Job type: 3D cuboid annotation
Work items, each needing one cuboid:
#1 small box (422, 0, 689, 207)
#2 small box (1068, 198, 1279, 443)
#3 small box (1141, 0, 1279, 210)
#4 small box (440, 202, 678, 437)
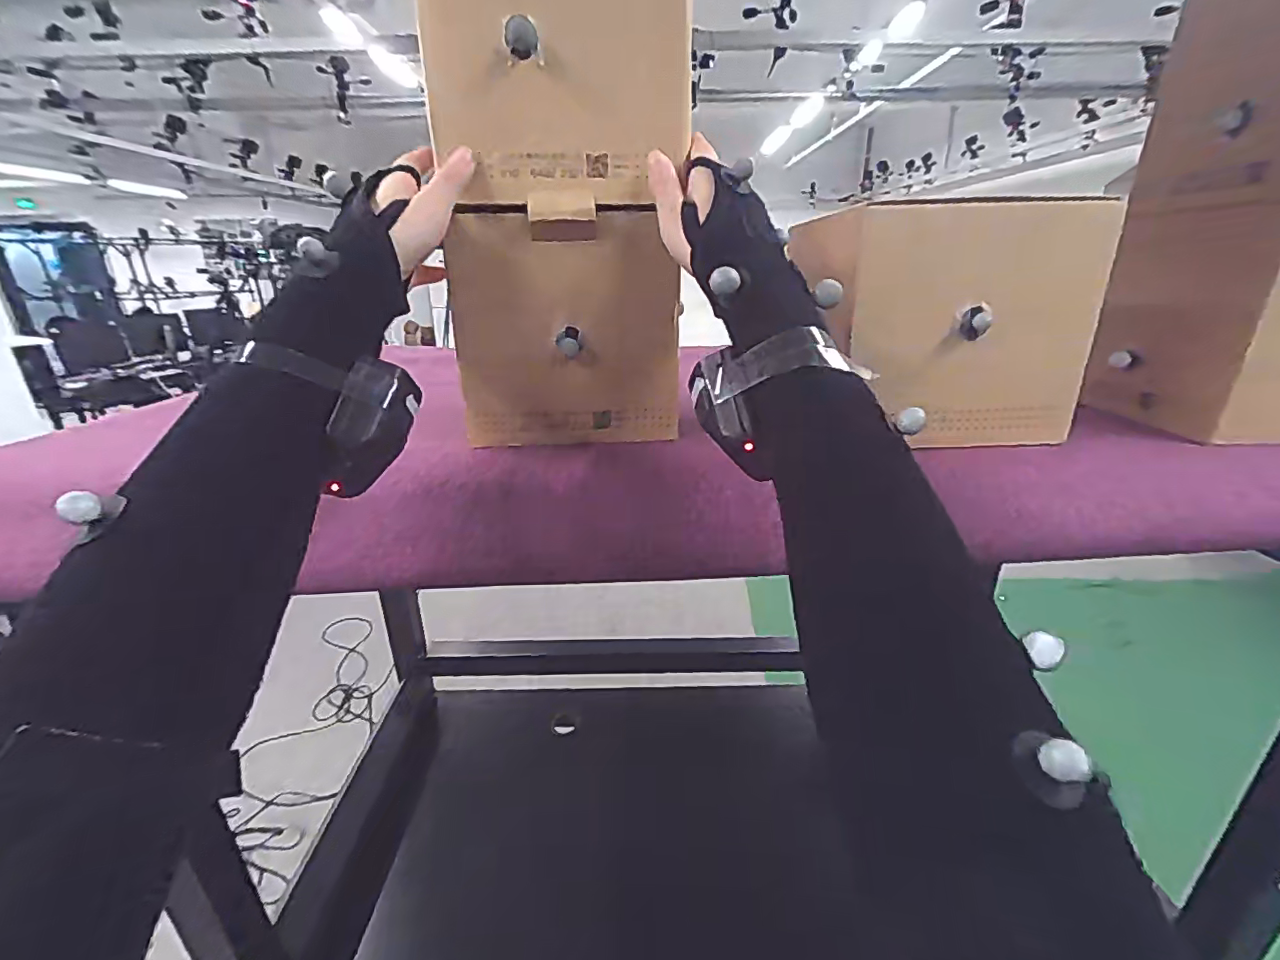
[{"bbox_3d":[-0.056,-0.289,0.411,0.168,0.176,0.179,-3,18,-6],"label":"small box"},{"bbox_3d":[0.506,-0.133,0.441,0.179,0.176,0.168,-2,21,1],"label":"small box"},{"bbox_3d":[0.505,-0.278,0.362,0.179,0.176,0.168,-1,21,0],"label":"small box"},{"bbox_3d":[-0.057,-0.137,0.470,0.168,0.176,0.179,-2,21,-3],"label":"small box"}]
